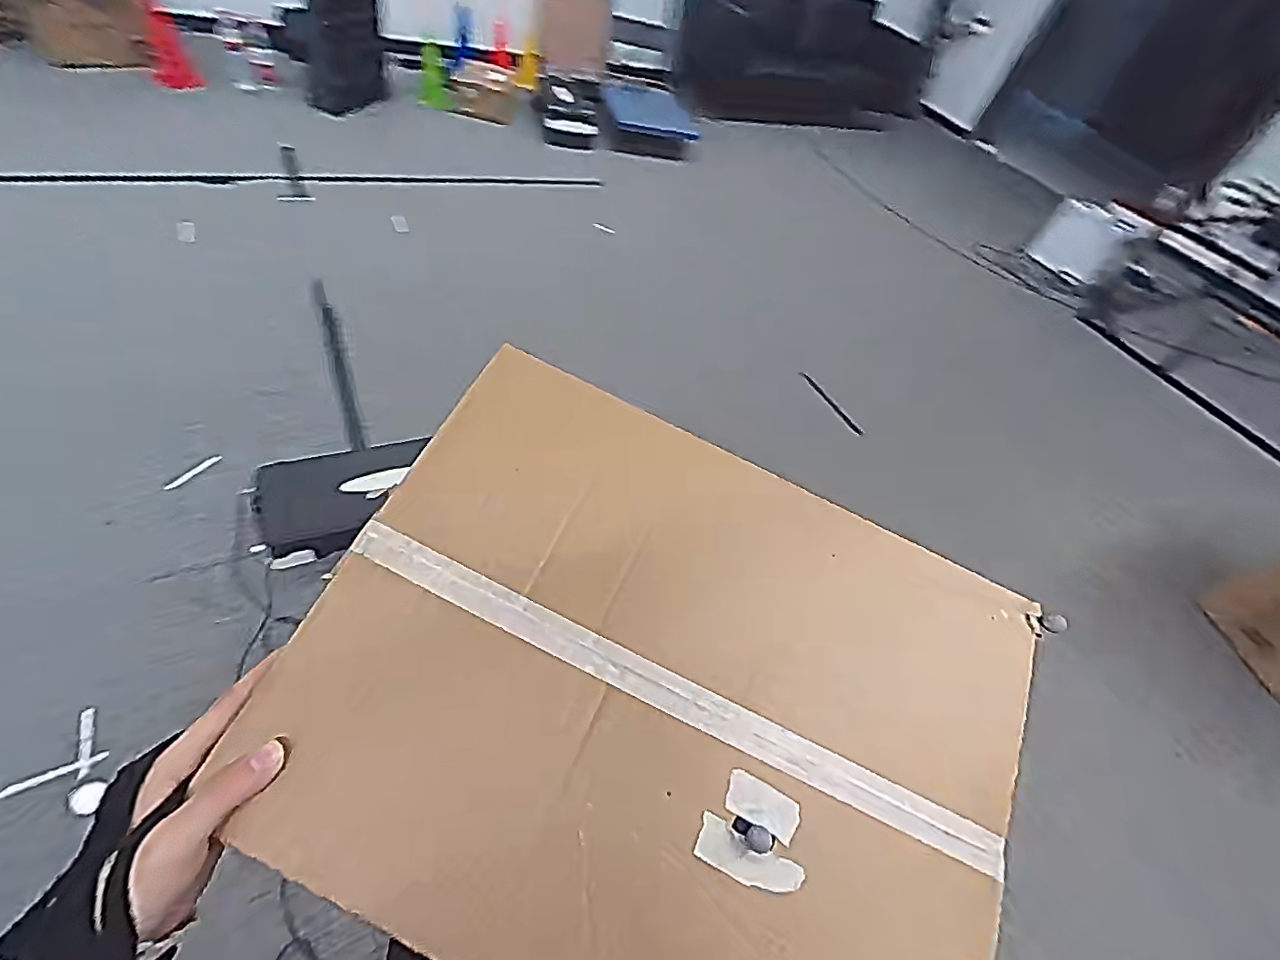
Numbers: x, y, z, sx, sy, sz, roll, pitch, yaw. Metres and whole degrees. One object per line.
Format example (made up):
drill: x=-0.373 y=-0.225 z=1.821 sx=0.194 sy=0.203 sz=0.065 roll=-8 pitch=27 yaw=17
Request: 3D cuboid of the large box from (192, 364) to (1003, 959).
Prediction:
large box: x=-0.008 y=0.176 z=0.457 sx=0.408 sy=0.320 sz=0.320 roll=25 pitch=68 yaw=1
